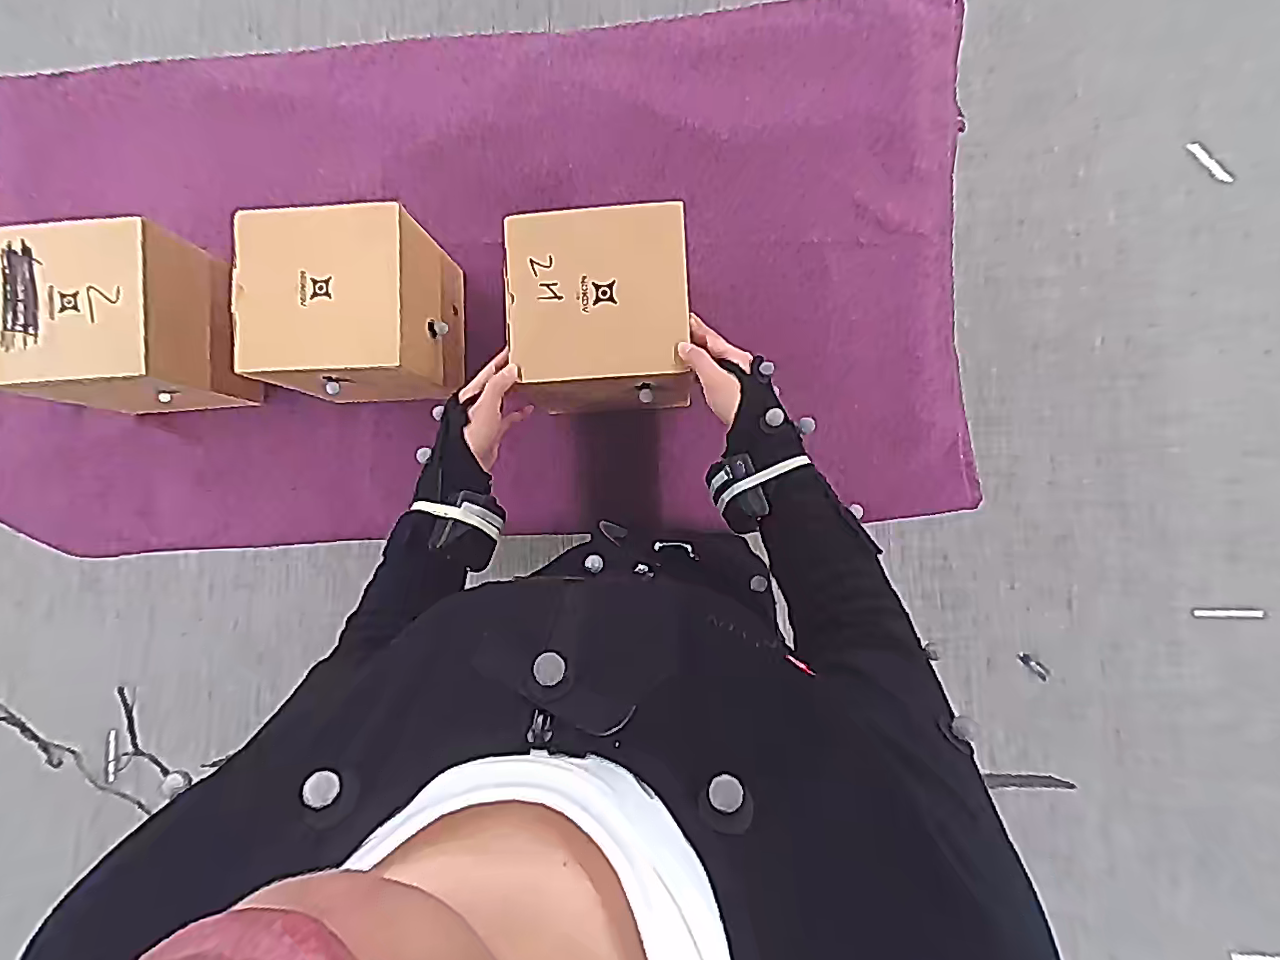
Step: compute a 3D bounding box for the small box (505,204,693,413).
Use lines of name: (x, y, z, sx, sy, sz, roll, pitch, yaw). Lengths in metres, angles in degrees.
small box: (-0.035, -0.171, 0.587, 0.179, 0.176, 0.168, -3, 86, 4)

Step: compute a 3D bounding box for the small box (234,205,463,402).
small box: (-0.313, -0.185, 0.613, 0.179, 0.176, 0.168, -1, 88, 5)
